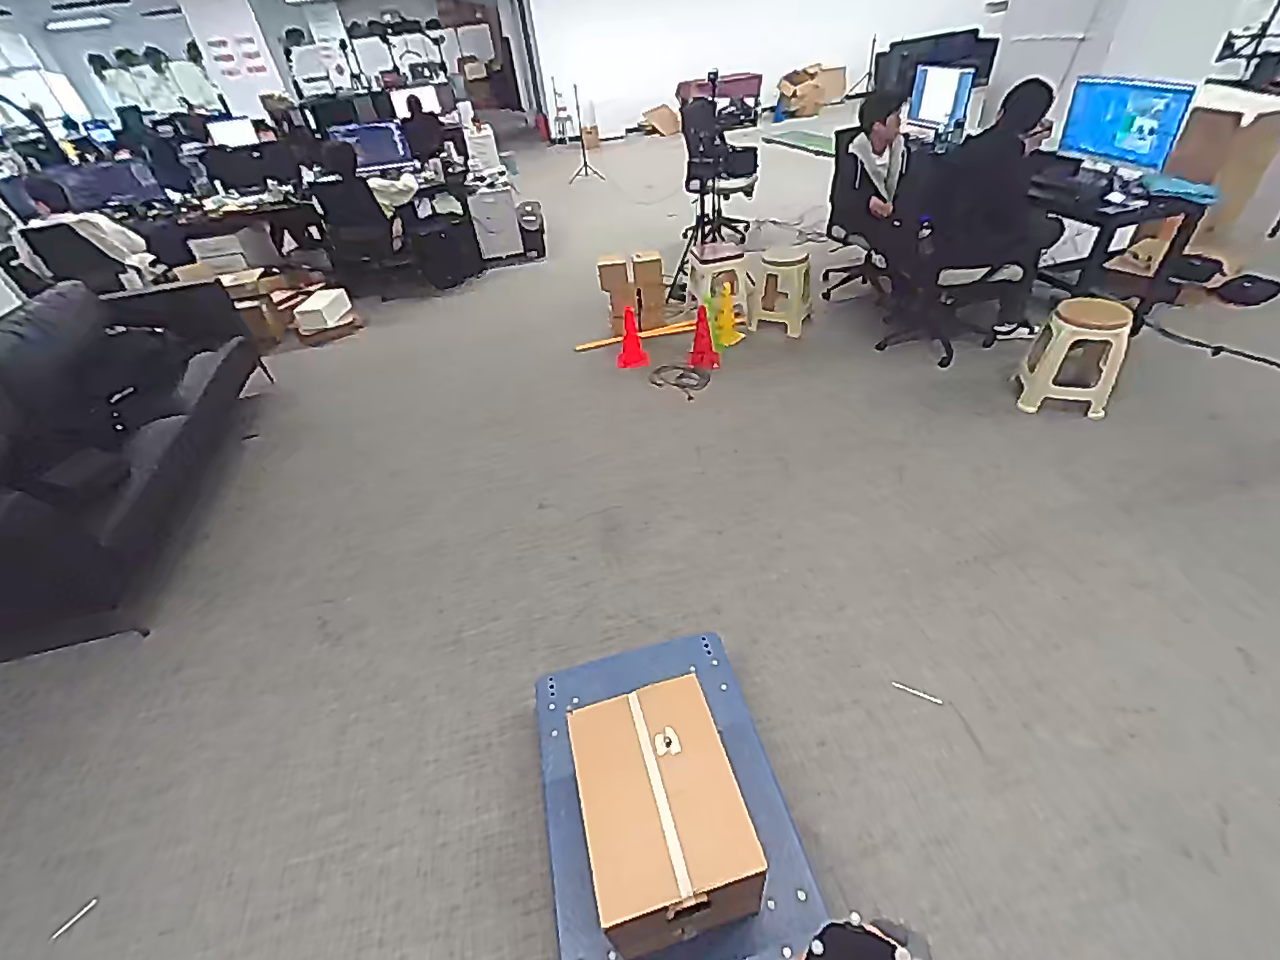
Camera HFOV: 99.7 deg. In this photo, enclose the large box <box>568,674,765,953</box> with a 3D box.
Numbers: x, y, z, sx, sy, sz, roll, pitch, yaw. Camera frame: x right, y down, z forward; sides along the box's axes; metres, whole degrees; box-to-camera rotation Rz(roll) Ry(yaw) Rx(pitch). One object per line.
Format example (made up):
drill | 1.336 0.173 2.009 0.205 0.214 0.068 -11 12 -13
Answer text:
large box | 0.052 0.729 1.208 0.320 0.320 0.408 -15 41 -7
